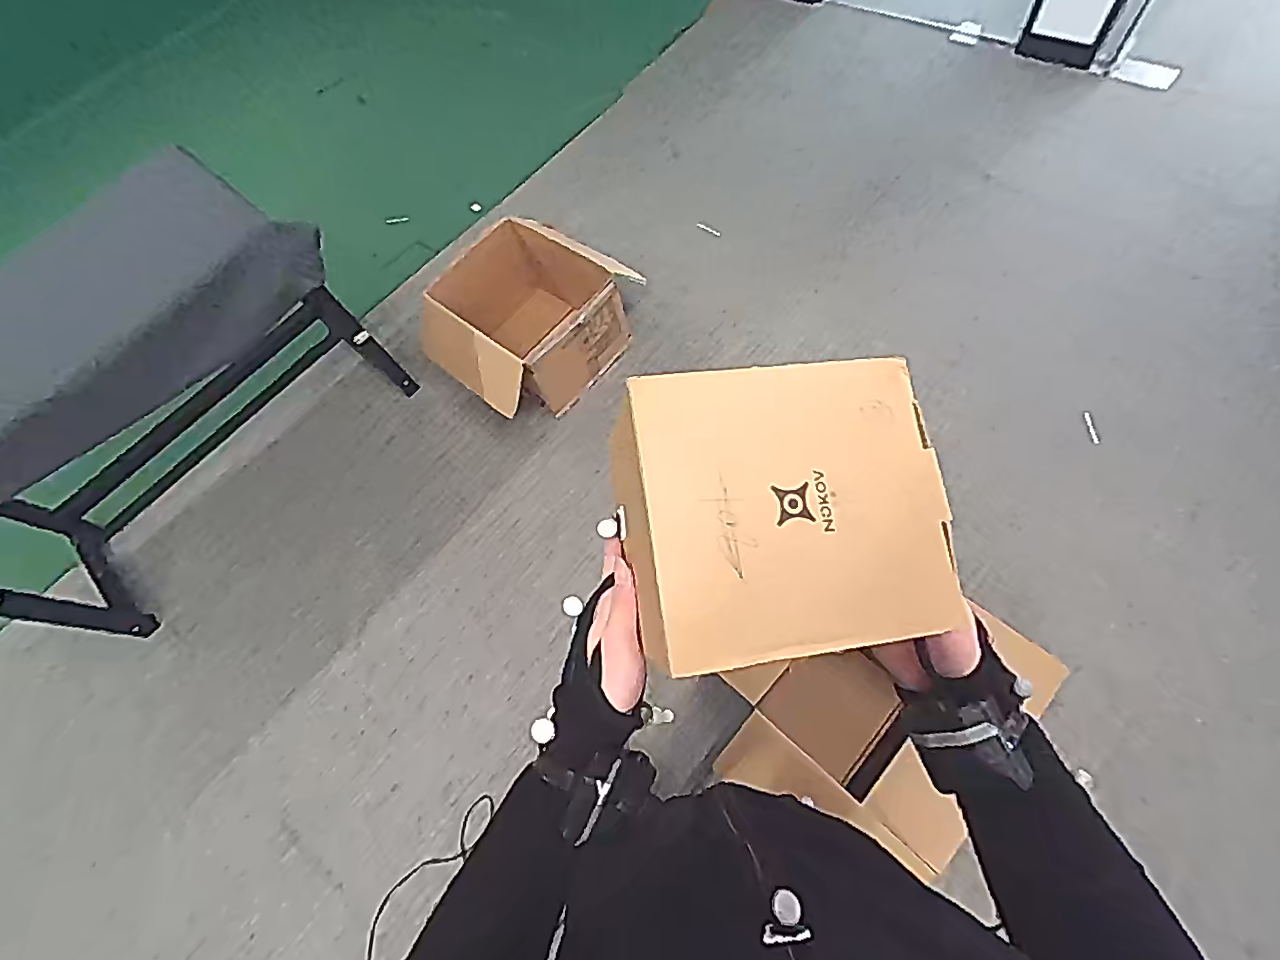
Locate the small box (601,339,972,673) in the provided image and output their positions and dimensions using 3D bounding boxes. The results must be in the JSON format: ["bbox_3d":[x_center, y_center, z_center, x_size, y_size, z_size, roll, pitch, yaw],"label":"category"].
[{"bbox_3d":[0.073,0.021,0.367,0.179,0.176,0.168,-7,80,-8],"label":"small box"}]
